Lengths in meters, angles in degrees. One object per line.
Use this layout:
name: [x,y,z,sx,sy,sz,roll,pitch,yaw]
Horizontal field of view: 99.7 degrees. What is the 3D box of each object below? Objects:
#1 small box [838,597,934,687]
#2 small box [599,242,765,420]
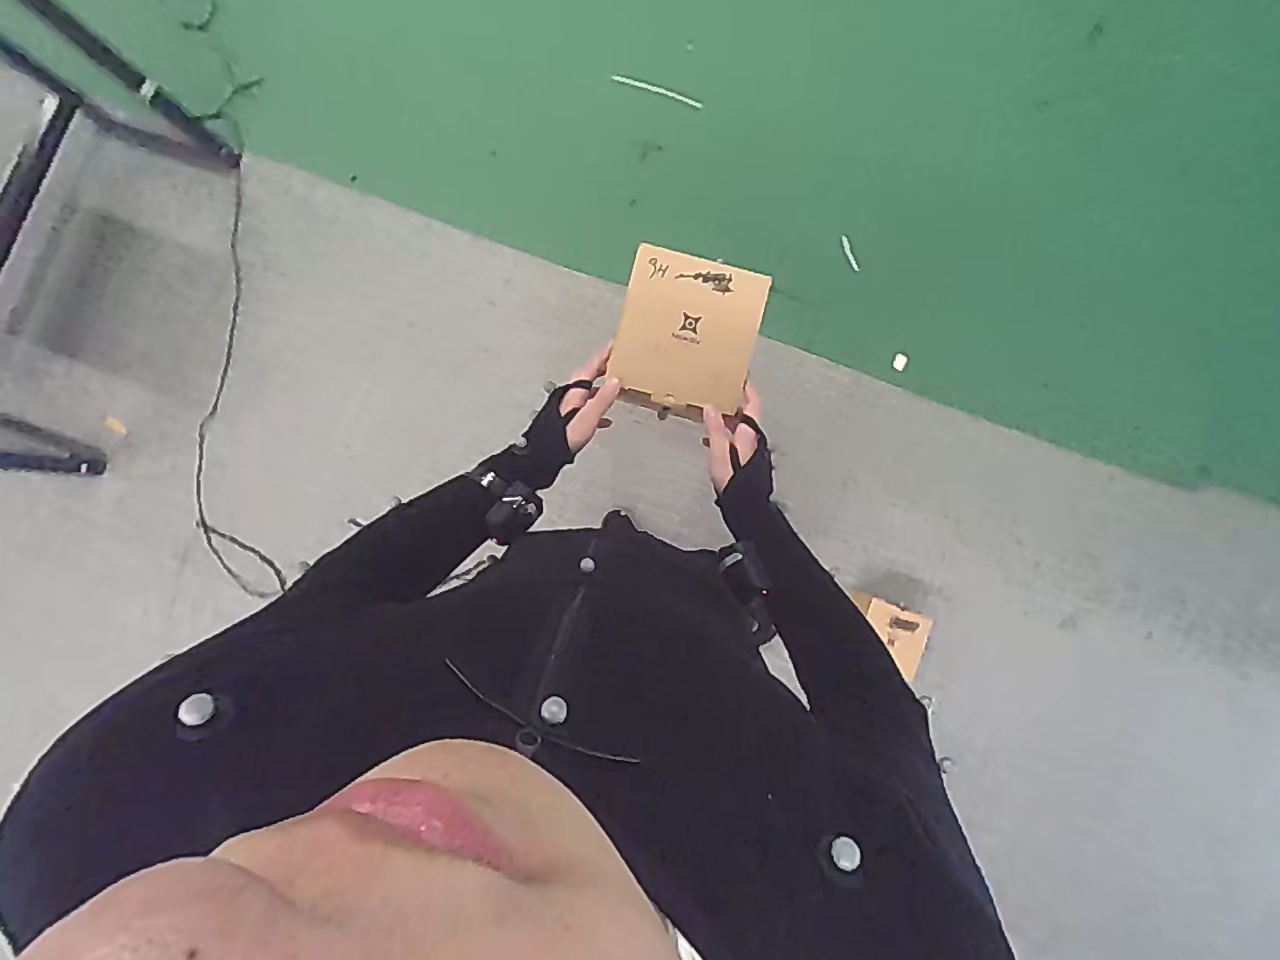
small box: [0.669,0.435,1.491,0.168,0.176,0.179,21,87,5]
small box: [0.051,-0.183,0.724,0.168,0.176,0.179,14,93,-1]
